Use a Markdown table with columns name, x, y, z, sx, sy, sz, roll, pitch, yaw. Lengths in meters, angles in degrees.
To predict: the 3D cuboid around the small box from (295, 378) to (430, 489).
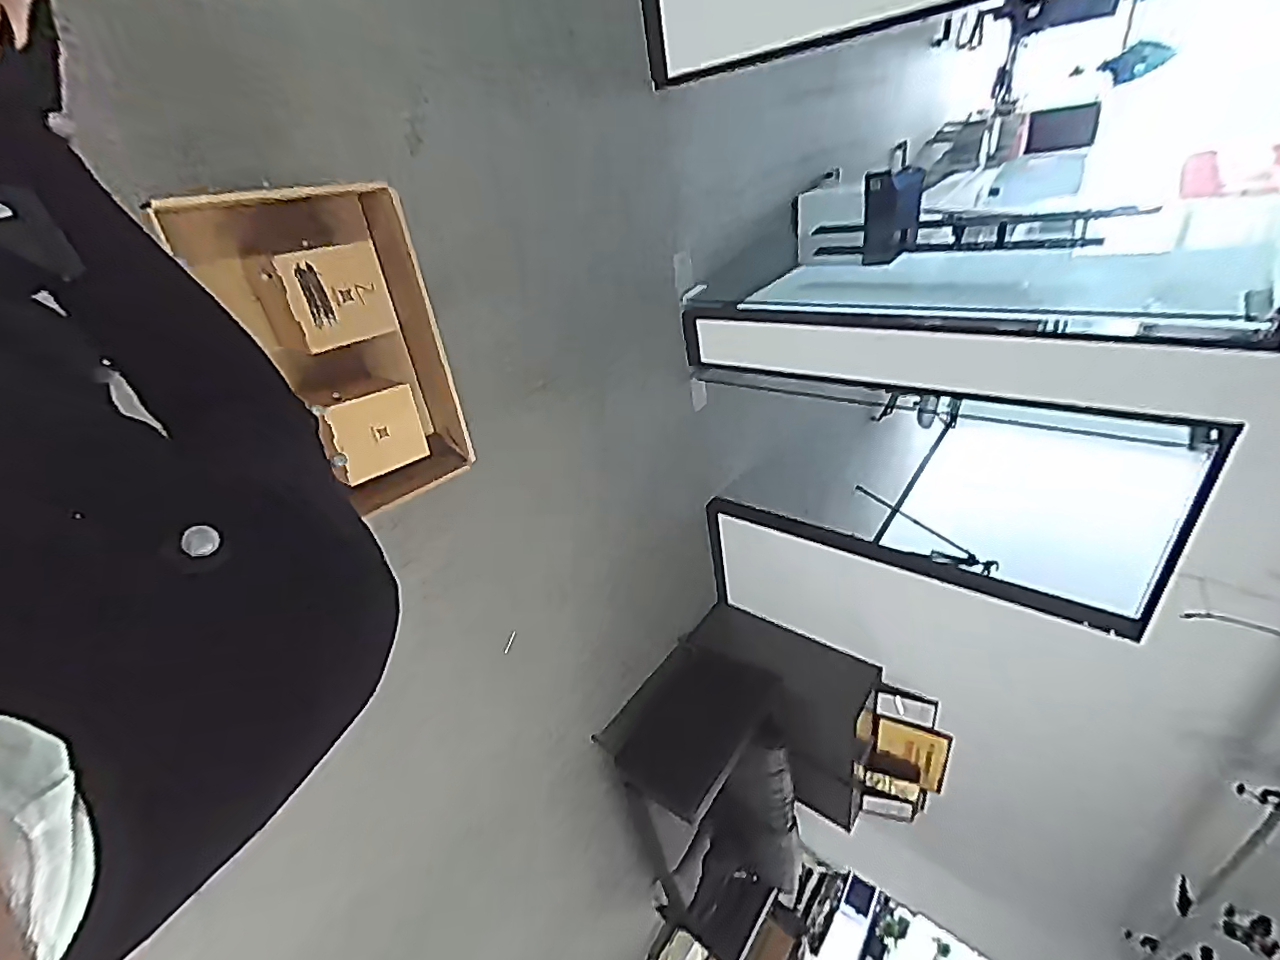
| name | x | y | z | sx | sy | sz | roll | pitch | yaw |
| --- | --- | --- | --- | --- | --- | --- | --- | --- | --- |
| small box | -0.579 | -0.107 | 1.133 | 0.179 | 0.176 | 0.168 | -32 | 127 | -40 |
